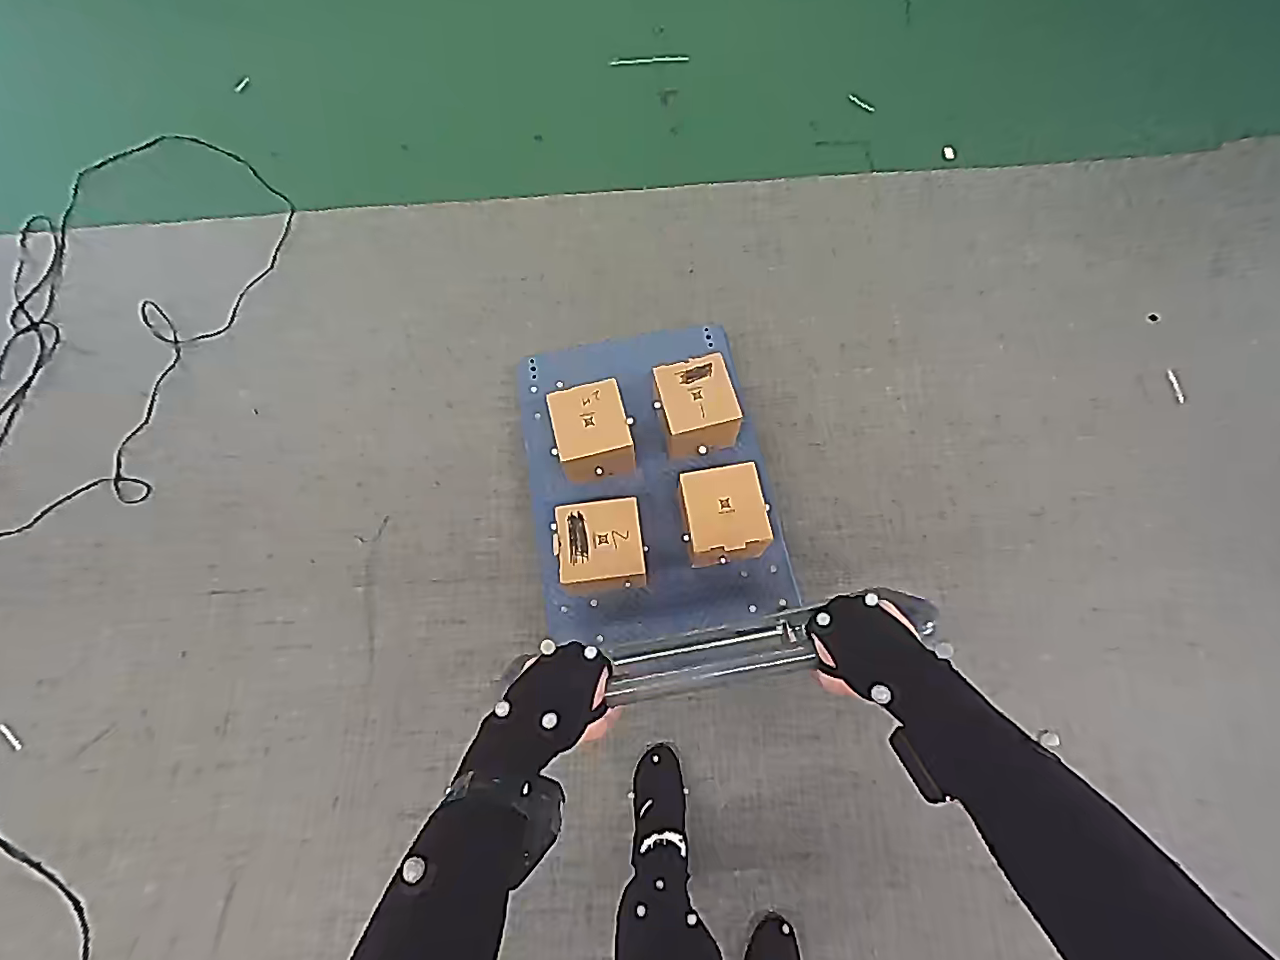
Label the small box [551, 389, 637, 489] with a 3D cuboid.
[{"bbox_3d":[-0.106,-0.089,1.304,0.168,0.176,0.179,-14,70,-3],"label":"small box"}]

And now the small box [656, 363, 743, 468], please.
[{"bbox_3d":[0.137,-0.152,1.317,0.168,0.176,0.179,-14,71,-2],"label":"small box"}]

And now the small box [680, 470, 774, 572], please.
[{"bbox_3d":[0.188,0.097,1.225,0.168,0.176,0.179,-10,70,-1],"label":"small box"}]
